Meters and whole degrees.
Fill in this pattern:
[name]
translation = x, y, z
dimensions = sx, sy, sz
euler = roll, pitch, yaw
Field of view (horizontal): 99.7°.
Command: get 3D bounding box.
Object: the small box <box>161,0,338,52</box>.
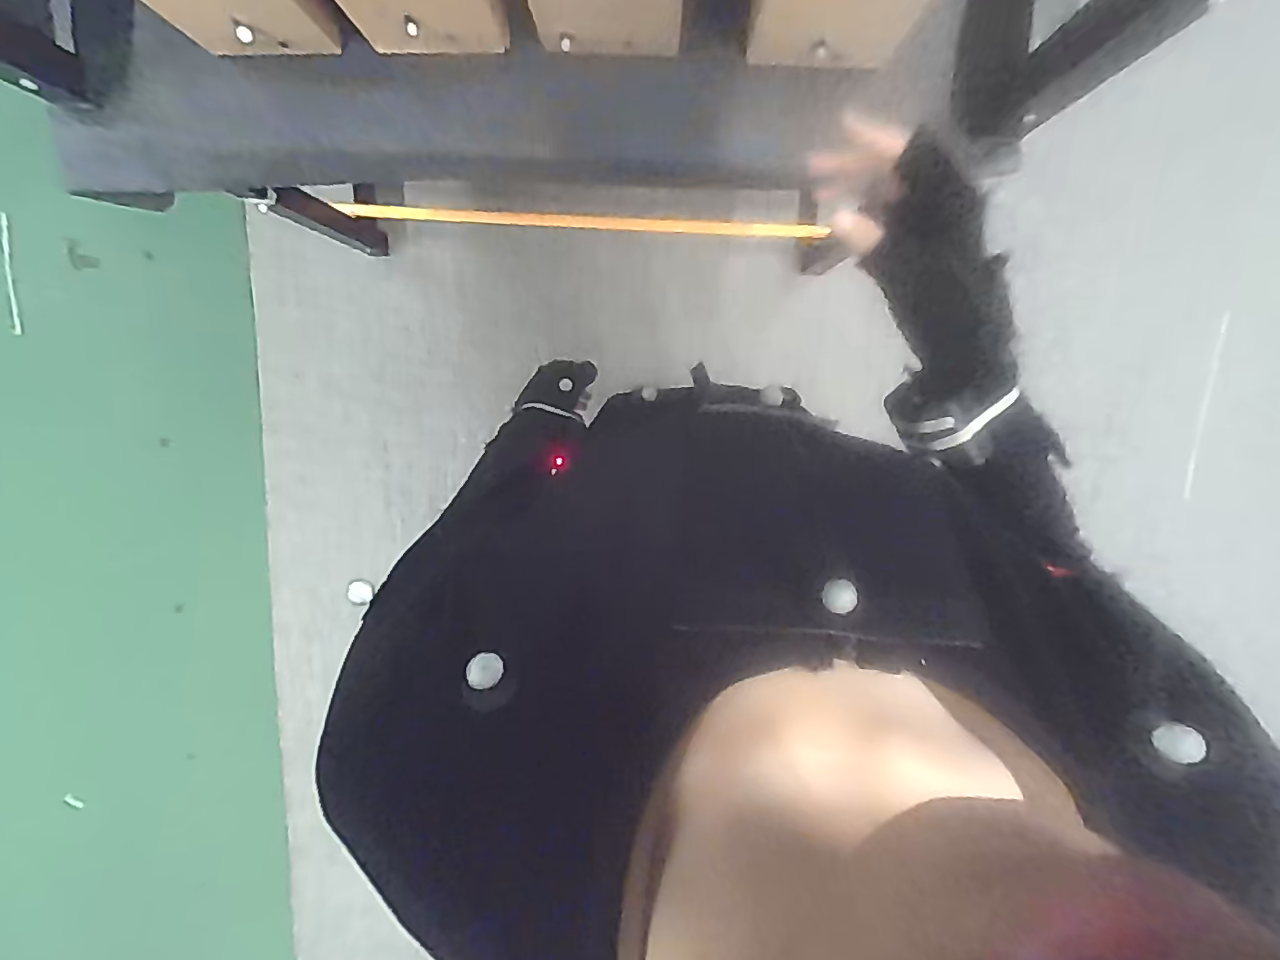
[small box]
translation = -0.447, -0.600, 0.569
dimensions = 0.168, 0.176, 0.179
euler = 1, 100, 2
